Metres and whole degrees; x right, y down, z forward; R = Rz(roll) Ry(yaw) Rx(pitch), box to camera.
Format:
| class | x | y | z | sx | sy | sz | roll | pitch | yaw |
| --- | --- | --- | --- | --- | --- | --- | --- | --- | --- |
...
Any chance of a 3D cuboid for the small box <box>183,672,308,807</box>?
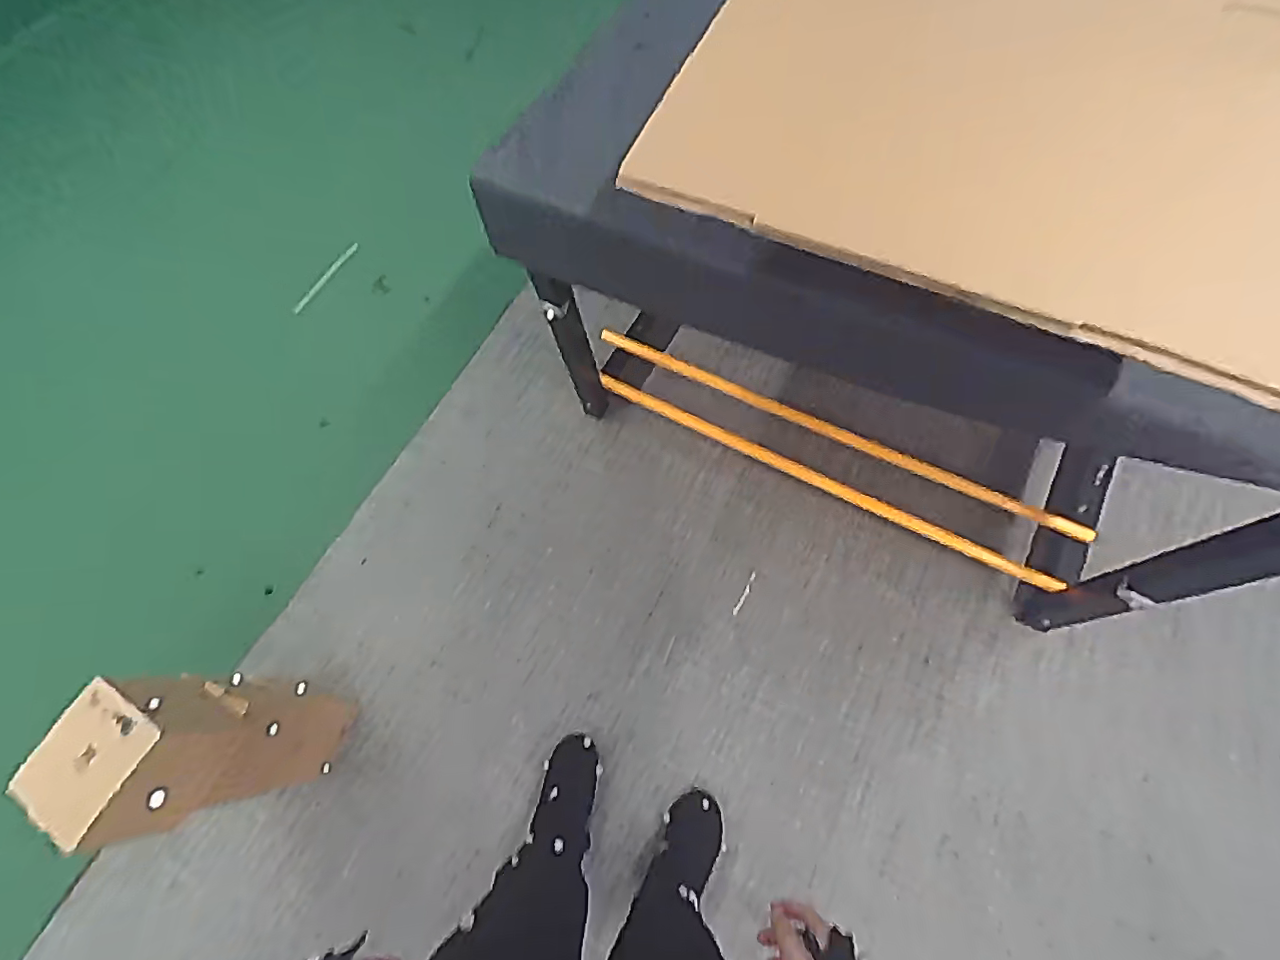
| class | x | y | z | sx | sy | sz | roll | pitch | yaw |
| --- | --- | --- | --- | --- | --- | --- | --- | --- | --- |
| small box | -0.768 | 0.476 | 1.012 | 0.168 | 0.176 | 0.179 | 13 | 70 | 14 |

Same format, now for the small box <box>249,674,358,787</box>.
| class | x | y | z | sx | sy | sz | roll | pitch | yaw |
| --- | --- | --- | --- | --- | --- | --- | --- | --- | --- |
| small box | -0.755 | 0.531 | 1.164 | 0.179 | 0.176 | 0.168 | 16 | 69 | 14 |

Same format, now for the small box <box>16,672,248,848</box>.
| class | x | y | z | sx | sy | sz | roll | pitch | yaw |
| --- | --- | --- | --- | --- | --- | --- | --- | --- | --- |
| small box | -0.782 | 0.428 | 0.853 | 0.168 | 0.176 | 0.179 | 26 | 74 | 17 |
